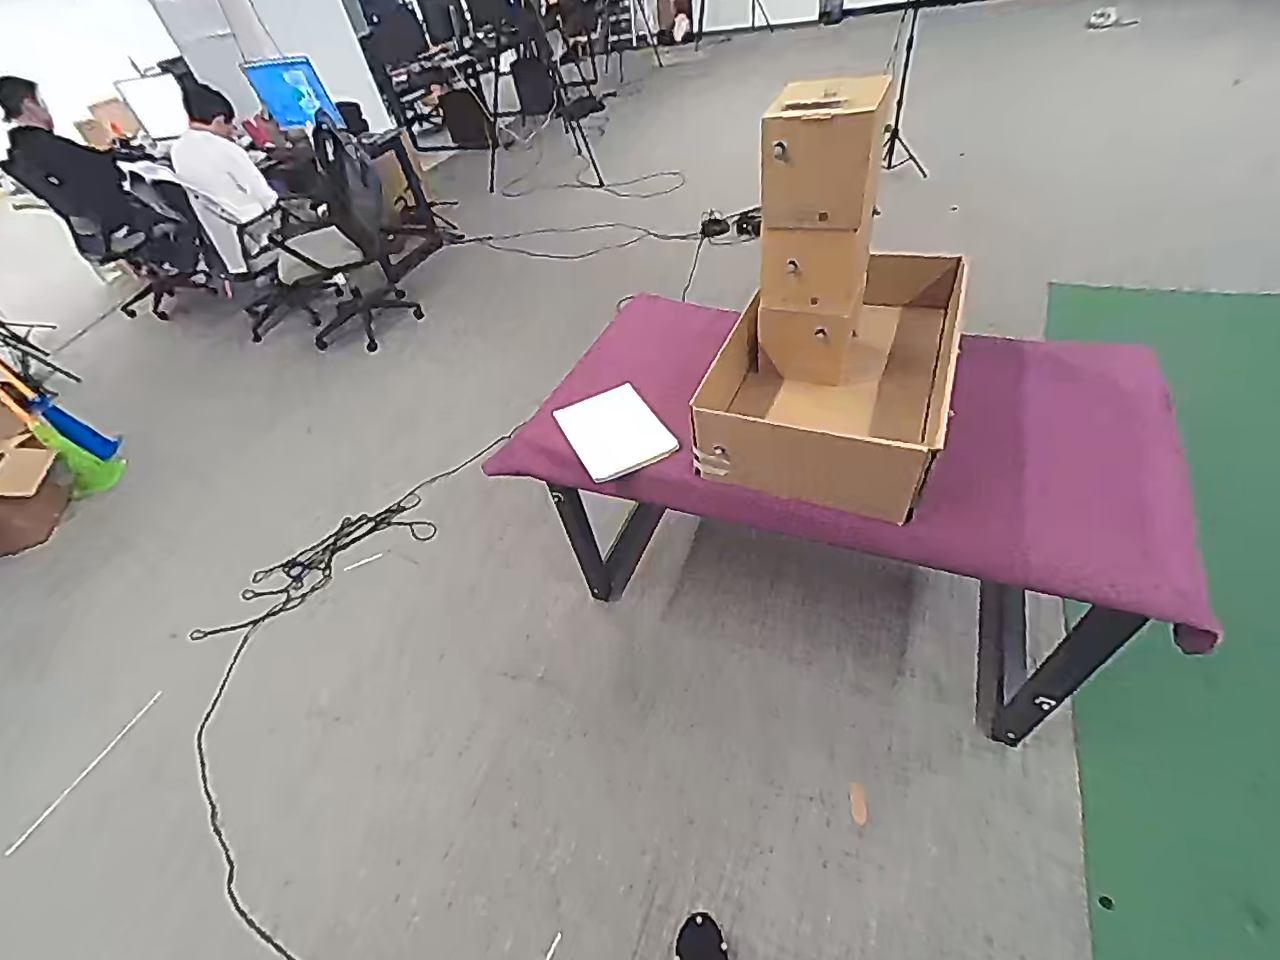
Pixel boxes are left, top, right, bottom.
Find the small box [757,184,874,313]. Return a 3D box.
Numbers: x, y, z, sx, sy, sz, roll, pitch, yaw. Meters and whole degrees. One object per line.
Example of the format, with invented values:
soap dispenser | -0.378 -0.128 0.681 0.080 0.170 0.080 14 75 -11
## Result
small box | 0.331 -0.437 1.023 0.168 0.176 0.179 15 53 24
